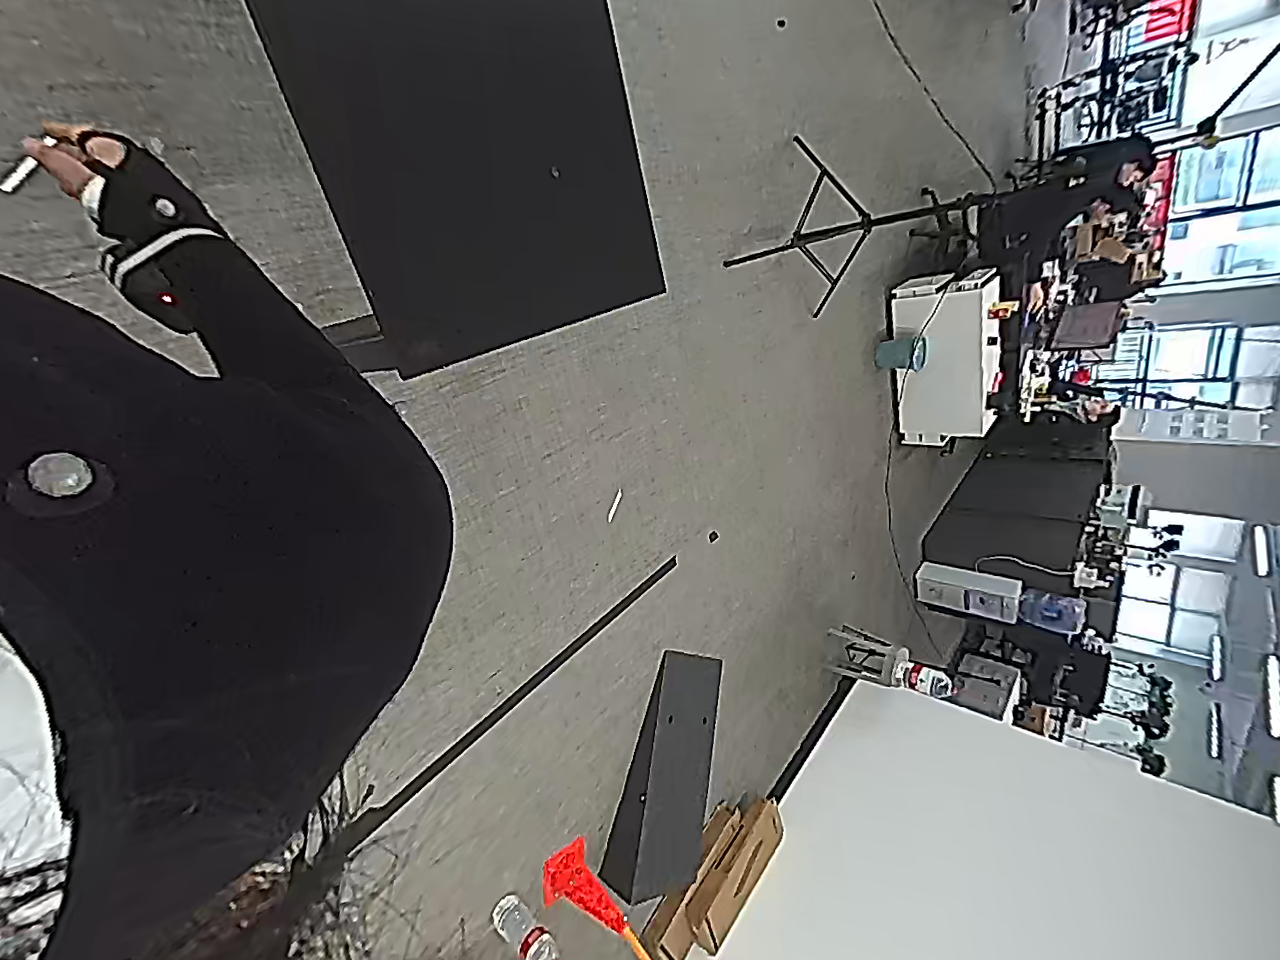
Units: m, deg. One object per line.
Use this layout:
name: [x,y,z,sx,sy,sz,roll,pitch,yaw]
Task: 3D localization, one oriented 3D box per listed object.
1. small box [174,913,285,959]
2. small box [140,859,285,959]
small box: [-0.754,0.948,0.978,0.168,0.176,0.179,-35,119,-36]
small box: [-0.866,0.927,1.098,0.168,0.176,0.179,-35,121,-36]
